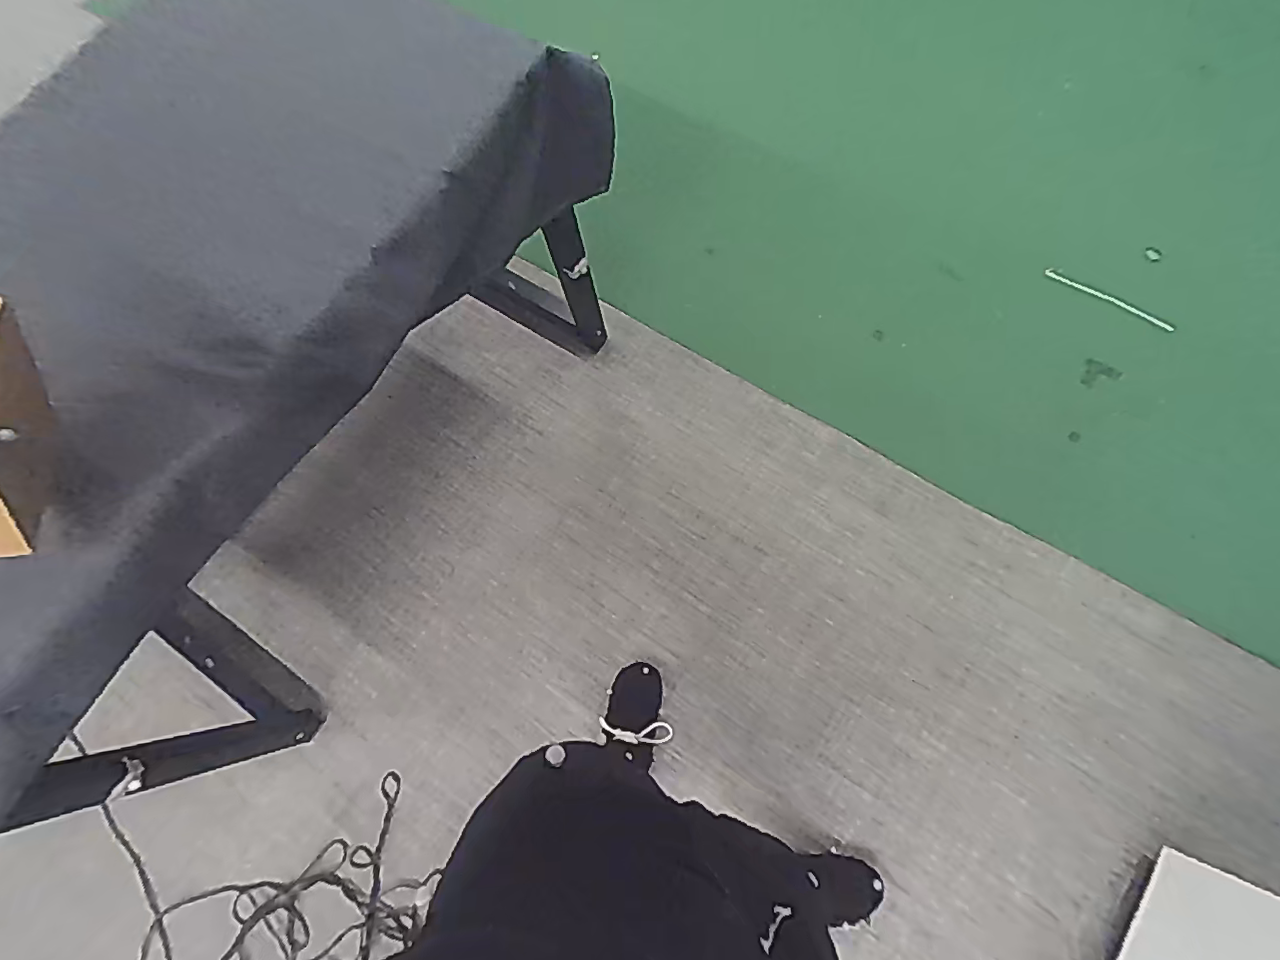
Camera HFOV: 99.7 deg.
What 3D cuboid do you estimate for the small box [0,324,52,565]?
[{"bbox_3d":[-0.647,-0.037,0.456,0.168,0.179,0.176,-3,52,-33],"label":"small box"}]
